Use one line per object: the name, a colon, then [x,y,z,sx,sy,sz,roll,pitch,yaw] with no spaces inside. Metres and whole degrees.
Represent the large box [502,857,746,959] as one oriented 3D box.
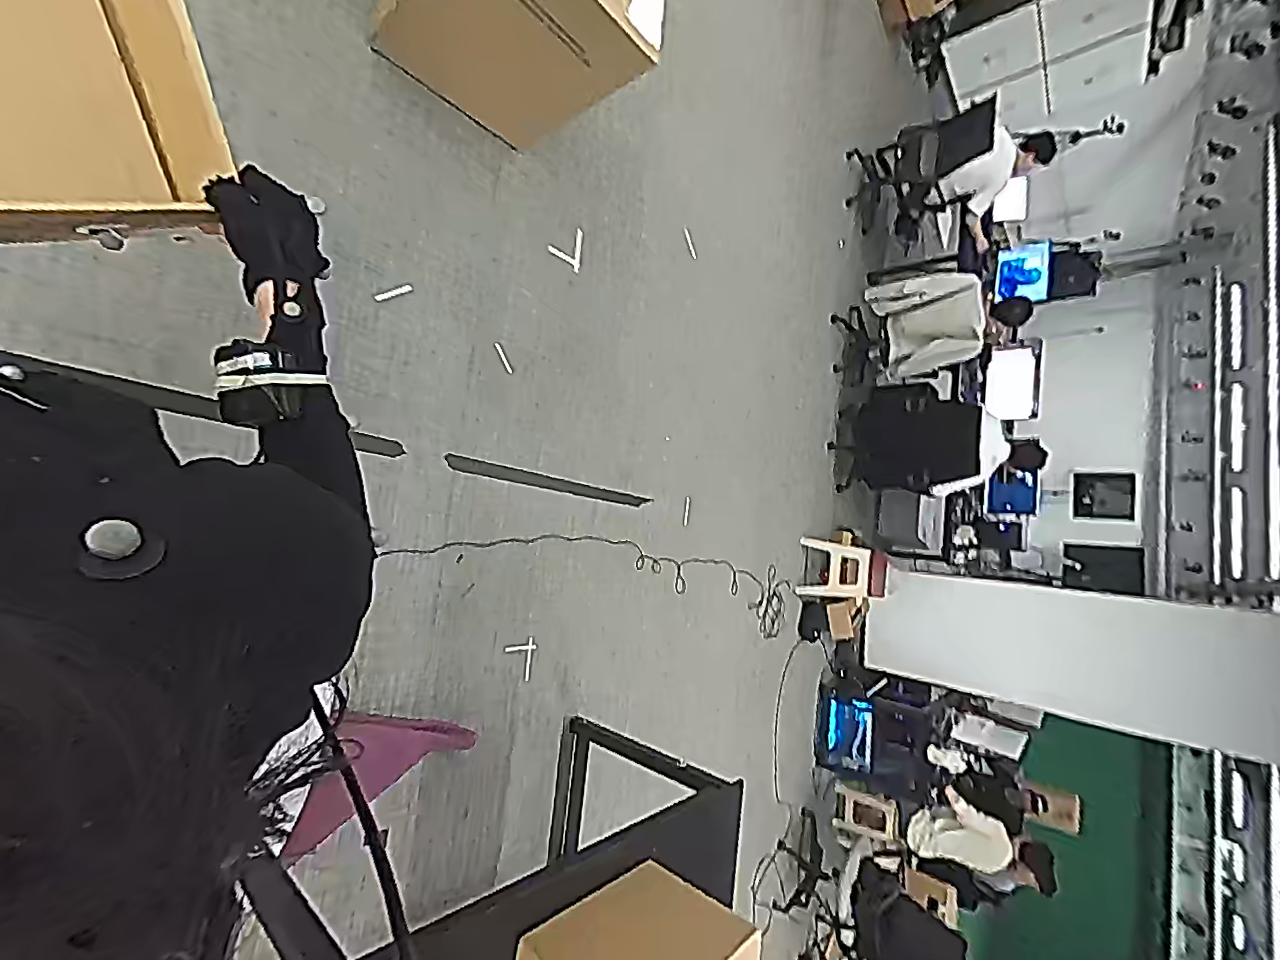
large box: [-0.034,1.051,1.070,0.408,0.320,0.320,11,82,-49]
